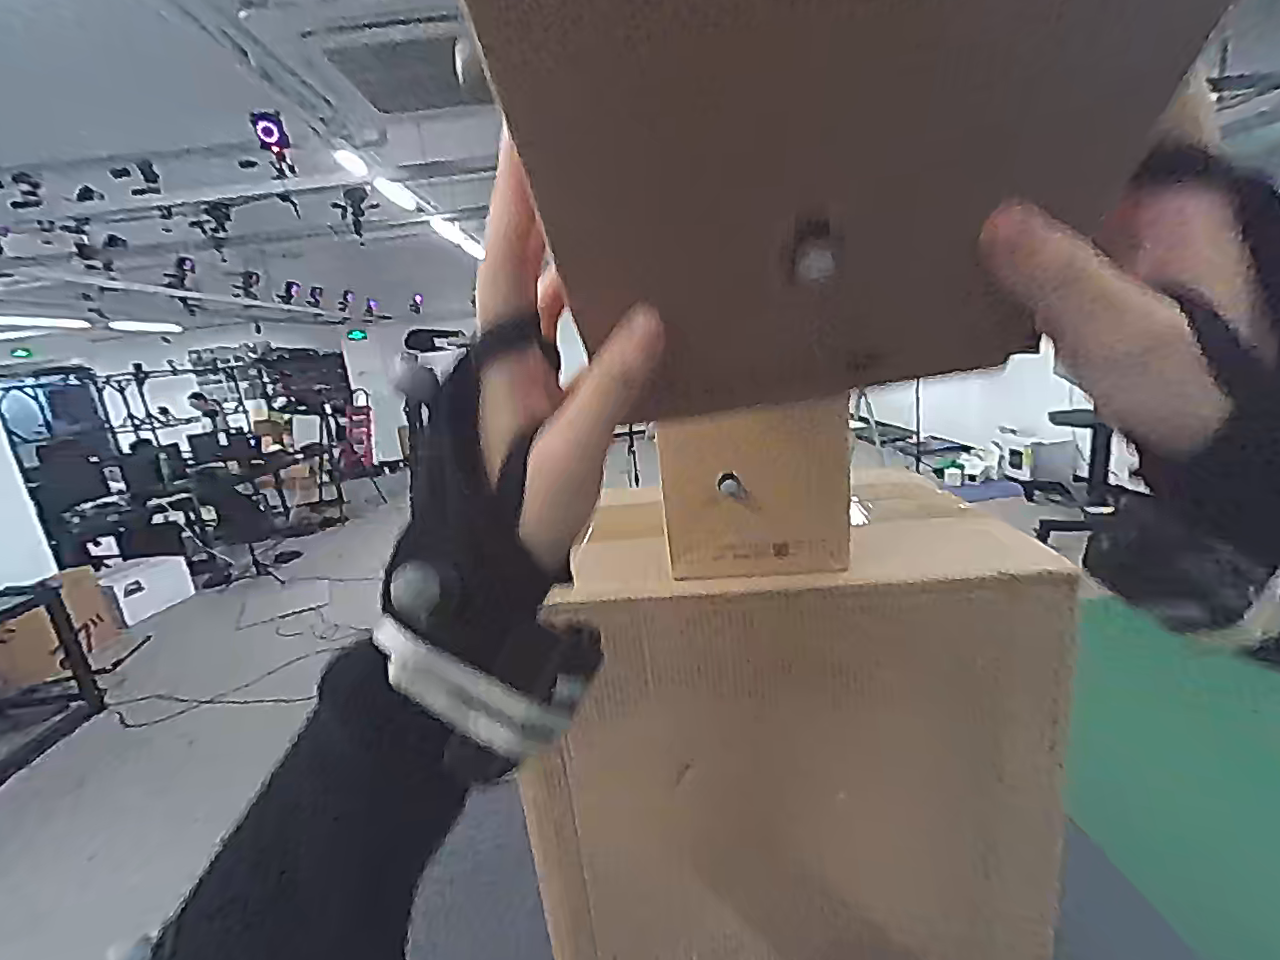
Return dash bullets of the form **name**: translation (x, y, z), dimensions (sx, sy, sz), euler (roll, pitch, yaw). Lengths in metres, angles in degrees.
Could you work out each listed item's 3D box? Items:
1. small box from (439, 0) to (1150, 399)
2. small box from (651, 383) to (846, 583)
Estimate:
- **small box**: translation (0.046, -0.147, 0.208), dimensions (0.168, 0.179, 0.176), euler (-8, -31, 6)
- **small box**: translation (0.109, -0.001, 0.558), dimensions (0.168, 0.176, 0.179), euler (-4, 15, 8)
